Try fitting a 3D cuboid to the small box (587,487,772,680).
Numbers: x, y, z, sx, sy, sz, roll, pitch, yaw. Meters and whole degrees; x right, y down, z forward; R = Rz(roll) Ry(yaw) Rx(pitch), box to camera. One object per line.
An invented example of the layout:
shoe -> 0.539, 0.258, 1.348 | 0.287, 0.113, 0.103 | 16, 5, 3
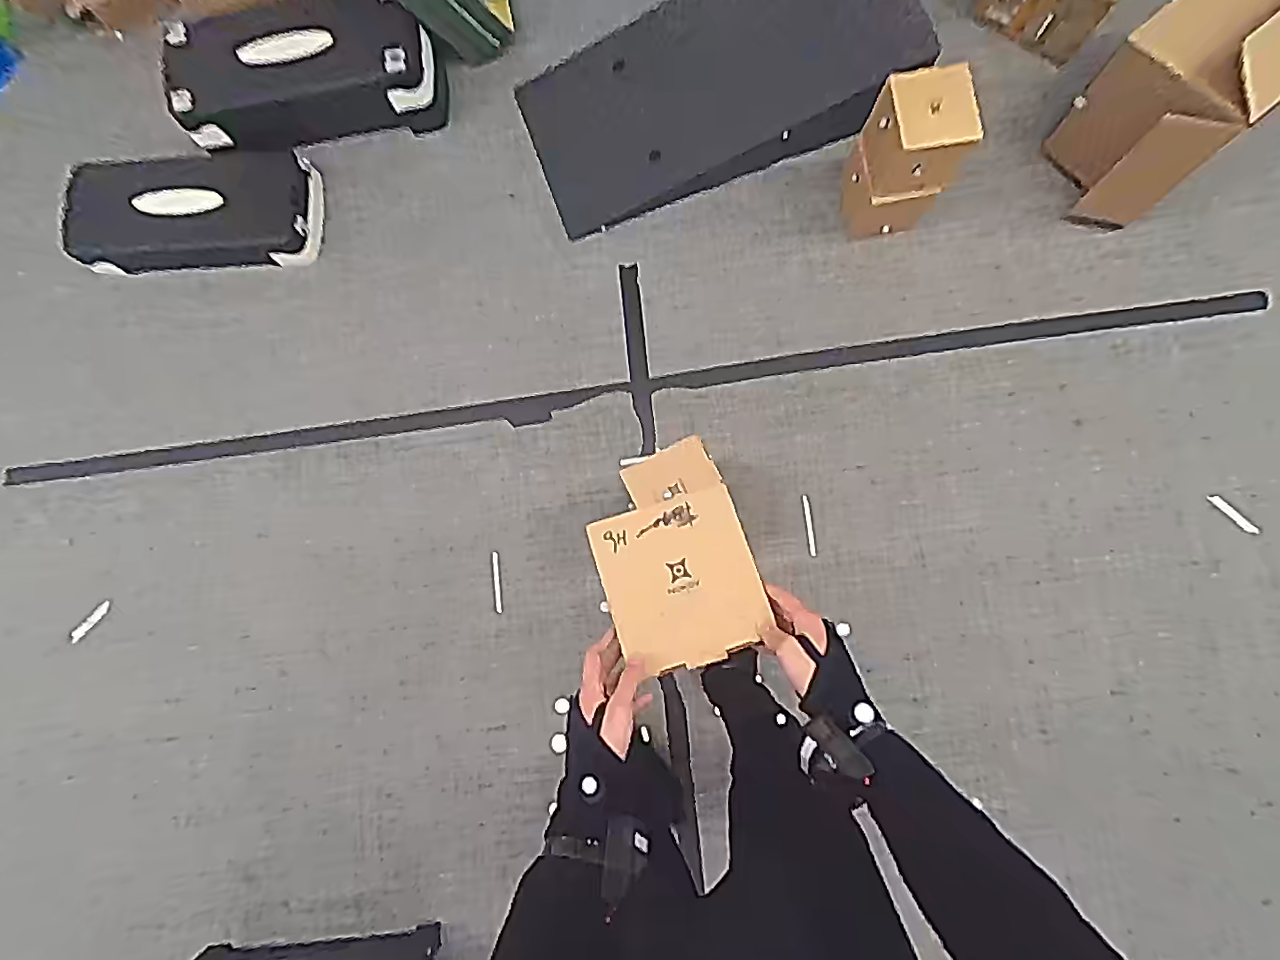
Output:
small box -> 0.043, 0.127, 0.670 | 0.168, 0.176, 0.179 | -17, 76, -4
